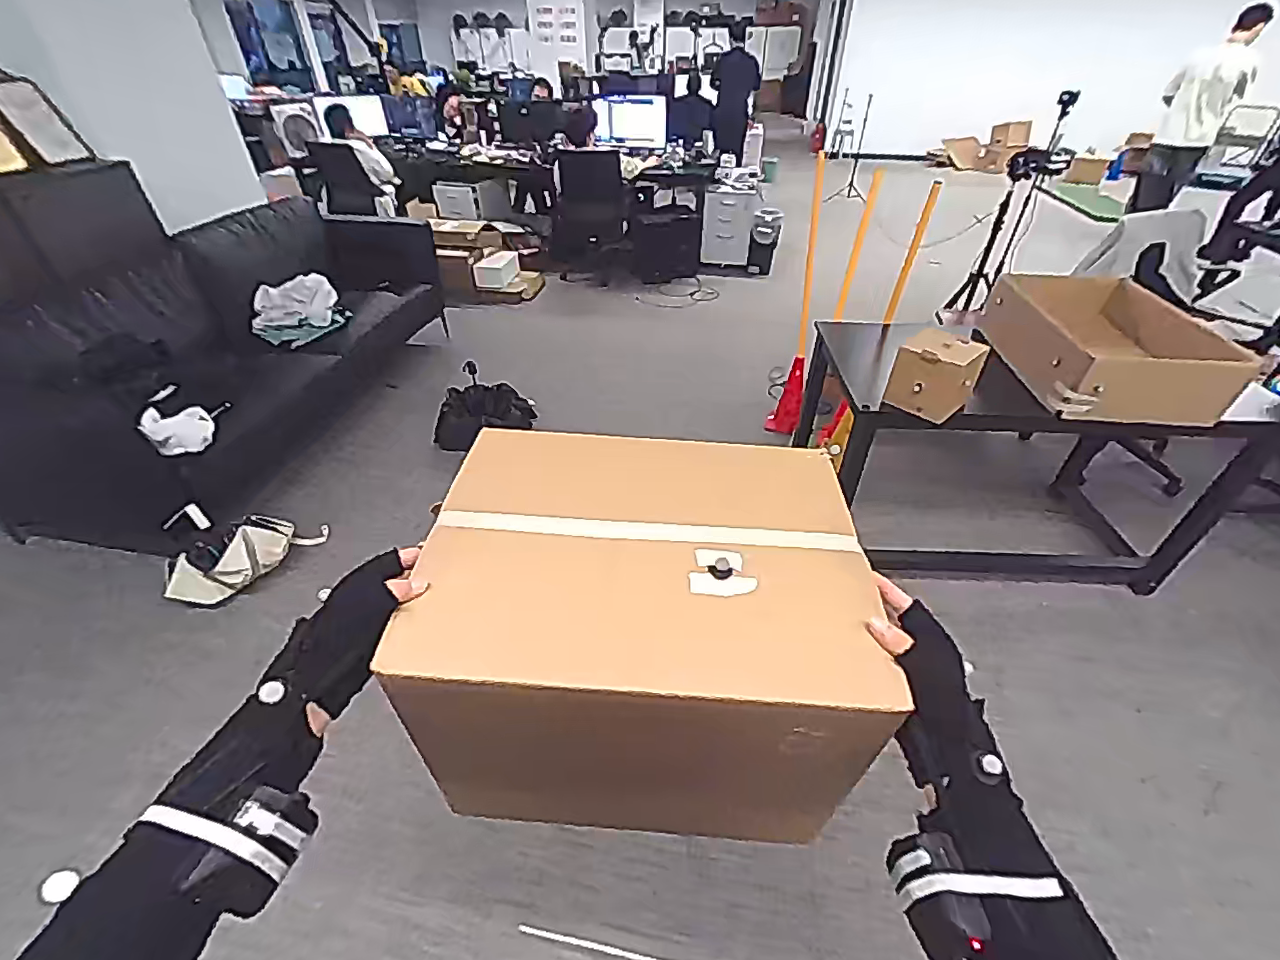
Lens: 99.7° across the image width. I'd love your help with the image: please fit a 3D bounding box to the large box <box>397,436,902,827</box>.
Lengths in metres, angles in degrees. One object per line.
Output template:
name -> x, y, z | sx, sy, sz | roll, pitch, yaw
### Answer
large box -> 0.005, 0.170, 0.624 | 0.408, 0.320, 0.320 | 4, 41, 0
